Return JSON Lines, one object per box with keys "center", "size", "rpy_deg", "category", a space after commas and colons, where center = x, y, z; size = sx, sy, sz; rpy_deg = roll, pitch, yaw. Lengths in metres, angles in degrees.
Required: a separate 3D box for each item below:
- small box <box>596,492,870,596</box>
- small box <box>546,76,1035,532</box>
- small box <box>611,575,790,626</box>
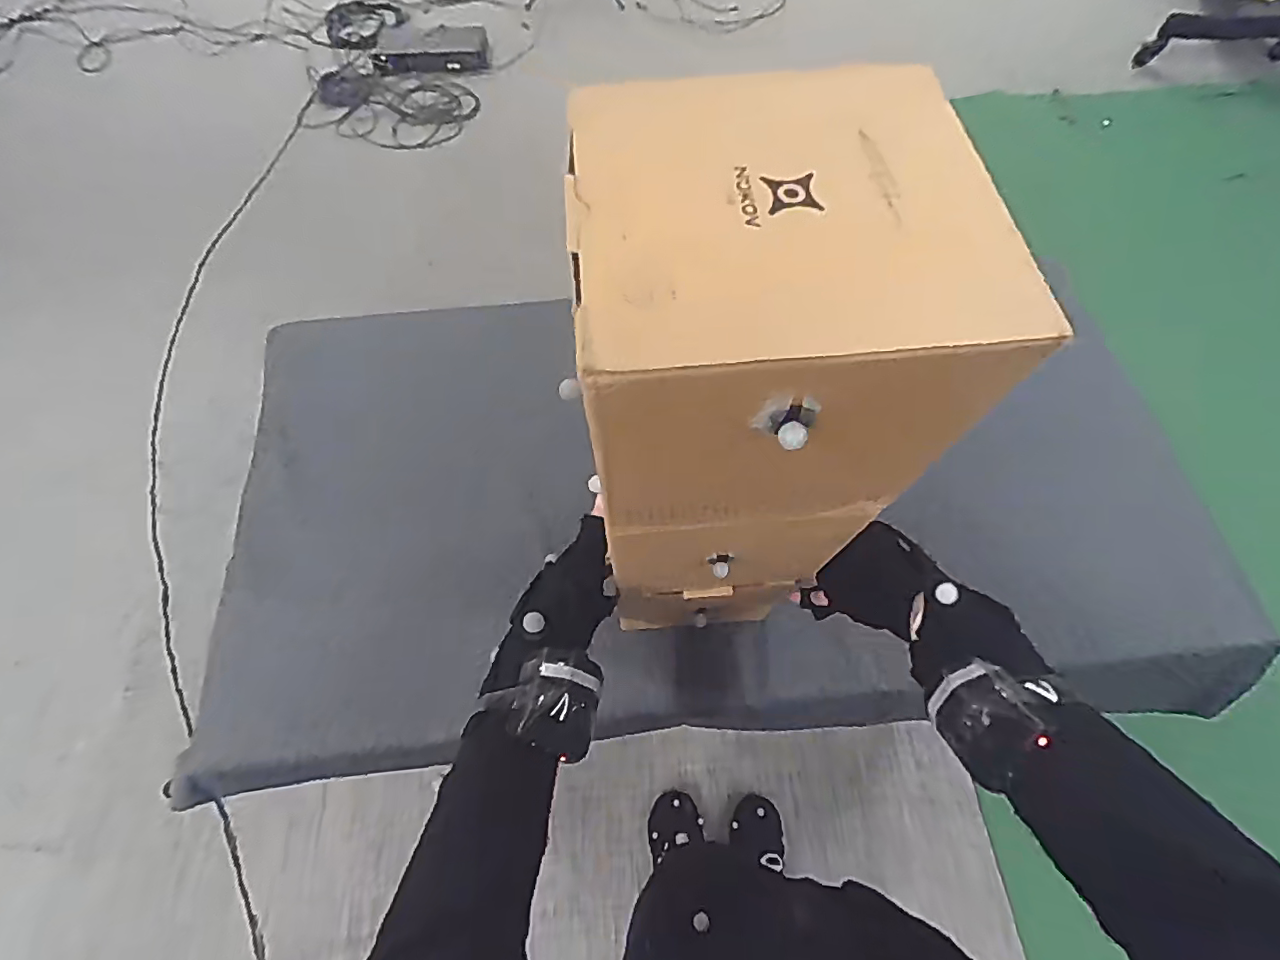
{"center": [0.055, -0.010, 0.443], "size": [0.179, 0.176, 0.168], "rpy_deg": [-7, 65, 0], "category": "small box"}
{"center": [0.051, -0.079, 0.298], "size": [0.179, 0.176, 0.168], "rpy_deg": [-6, 66, -2], "category": "small box"}
{"center": [0.052, 0.058, 0.594], "size": [0.168, 0.176, 0.179], "rpy_deg": [-6, 65, -1], "category": "small box"}
